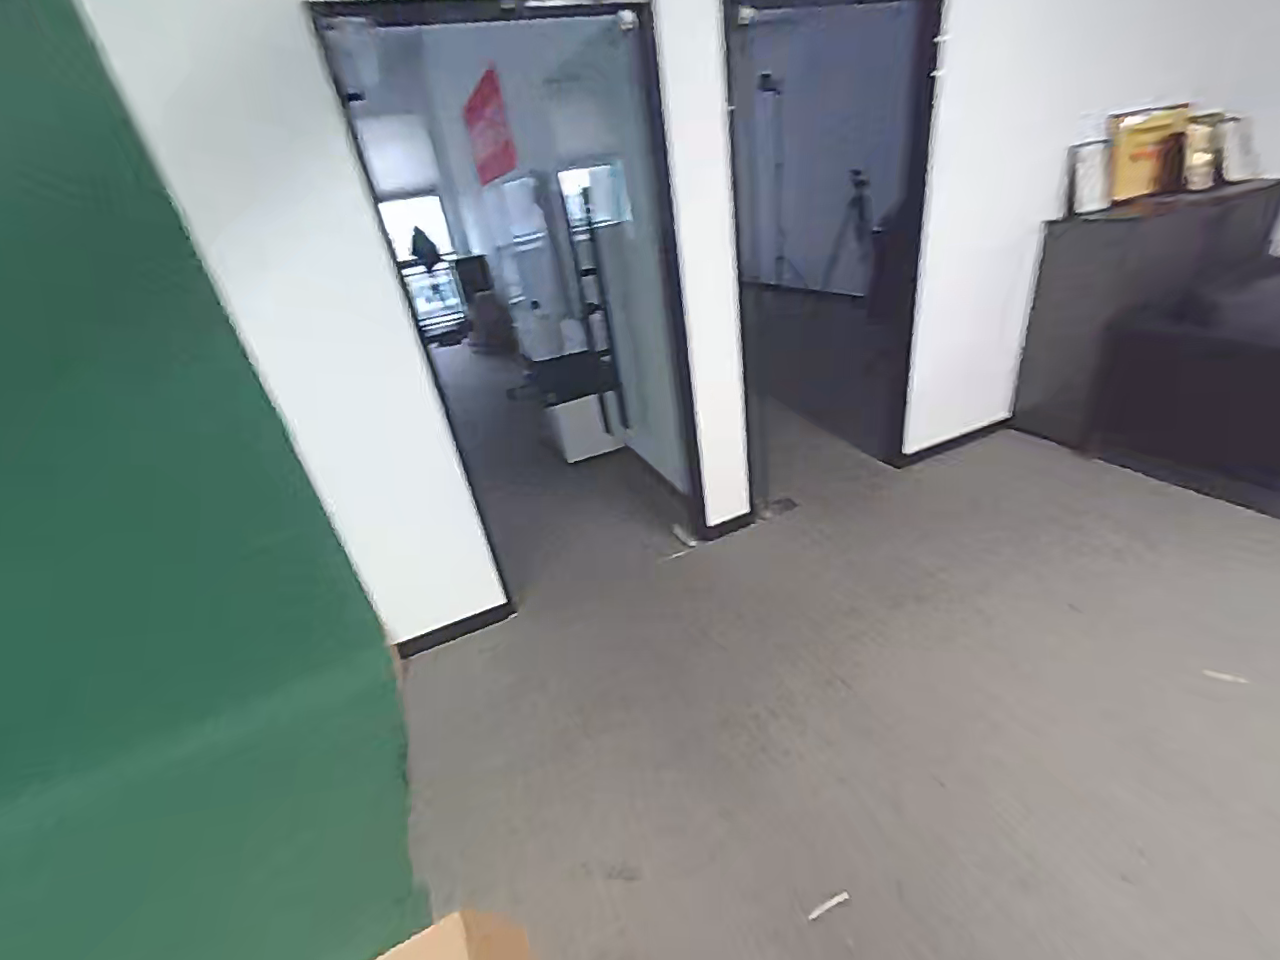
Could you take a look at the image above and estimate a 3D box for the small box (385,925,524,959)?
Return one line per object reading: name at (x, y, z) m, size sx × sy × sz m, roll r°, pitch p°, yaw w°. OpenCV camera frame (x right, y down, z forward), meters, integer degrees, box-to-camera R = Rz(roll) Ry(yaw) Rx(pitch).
small box at (-0.161, 0.463, 0.383) m, size 0.168 × 0.176 × 0.179 m, roll -24°, pitch 47°, yaw -12°
